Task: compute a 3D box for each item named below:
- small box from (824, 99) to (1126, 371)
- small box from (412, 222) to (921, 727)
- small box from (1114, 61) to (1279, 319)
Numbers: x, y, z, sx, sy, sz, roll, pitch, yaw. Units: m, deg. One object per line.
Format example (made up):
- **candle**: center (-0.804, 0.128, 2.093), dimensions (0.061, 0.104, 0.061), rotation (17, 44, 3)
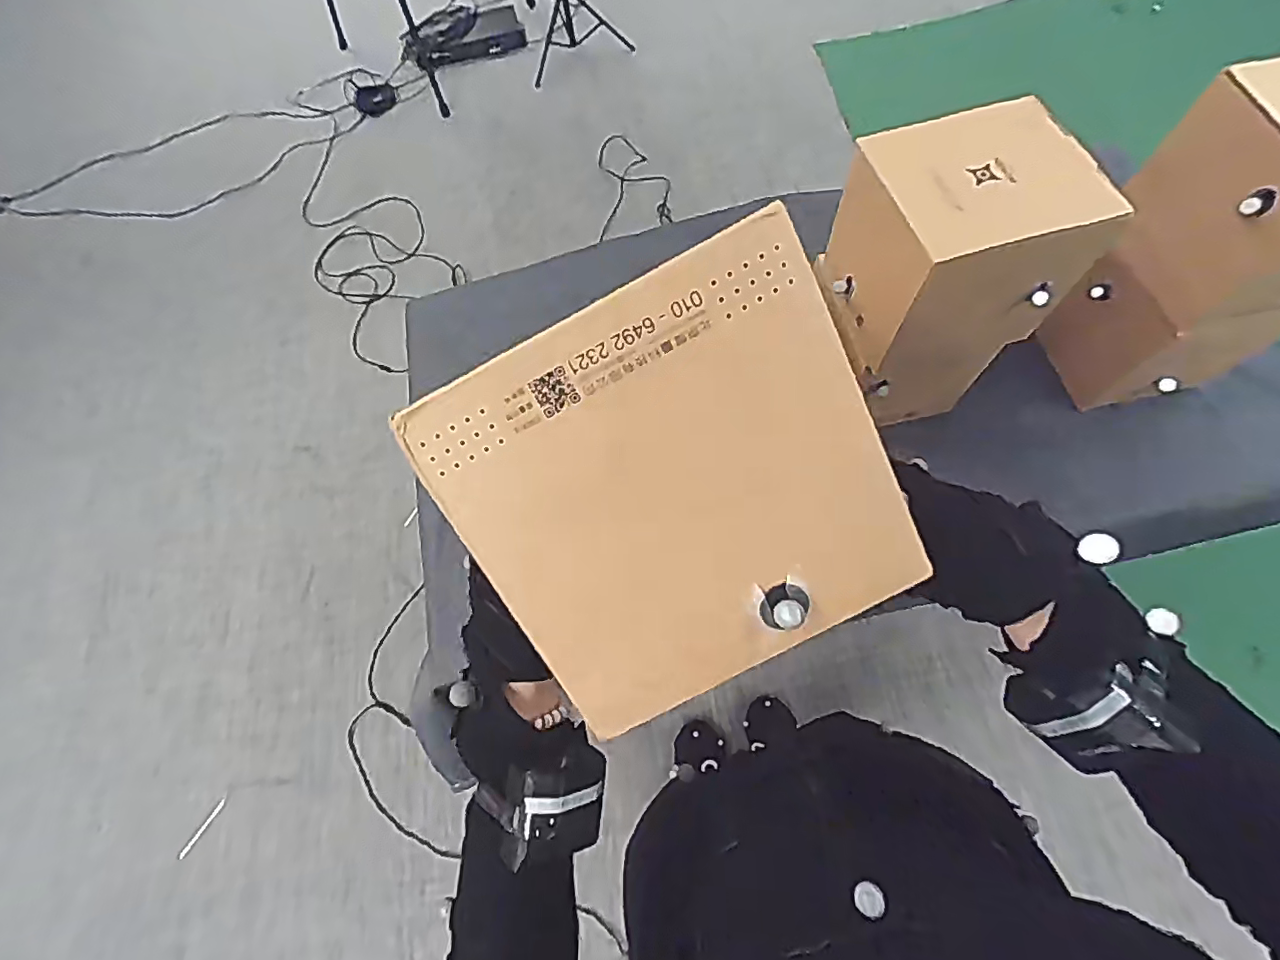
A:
- **small box**: center (0.314, -0.238, 0.555), dimensions (0.179, 0.176, 0.168), rotation (-14, 66, 0)
- **small box**: center (0.010, -0.016, 0.300), dimensions (0.168, 0.179, 0.176), rotation (-29, 106, 3)
- **small box**: center (0.632, -0.281, 0.538), dimensions (0.168, 0.176, 0.179), rotation (-10, 66, 2)
